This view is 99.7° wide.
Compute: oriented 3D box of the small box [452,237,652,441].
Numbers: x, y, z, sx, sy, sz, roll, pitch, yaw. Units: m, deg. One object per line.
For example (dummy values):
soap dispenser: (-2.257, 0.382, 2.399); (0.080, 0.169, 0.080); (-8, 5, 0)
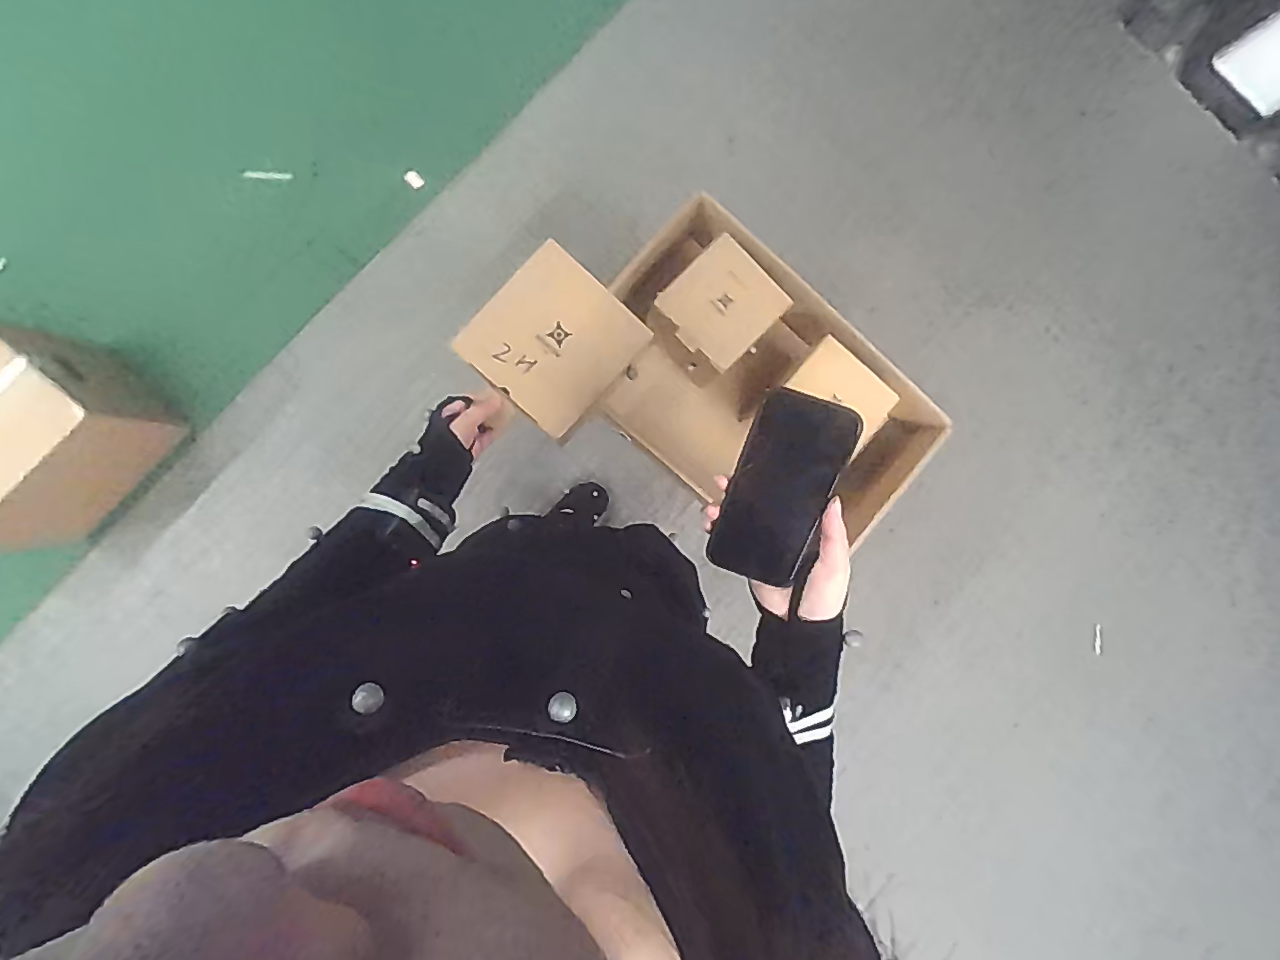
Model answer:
small box: (-0.110, -0.168, 0.705); (0.168, 0.176, 0.179); (42, 87, -5)

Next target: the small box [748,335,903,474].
small box: (0.324, -0.128, 0.983); (0.168, 0.176, 0.179); (42, 88, -3)
